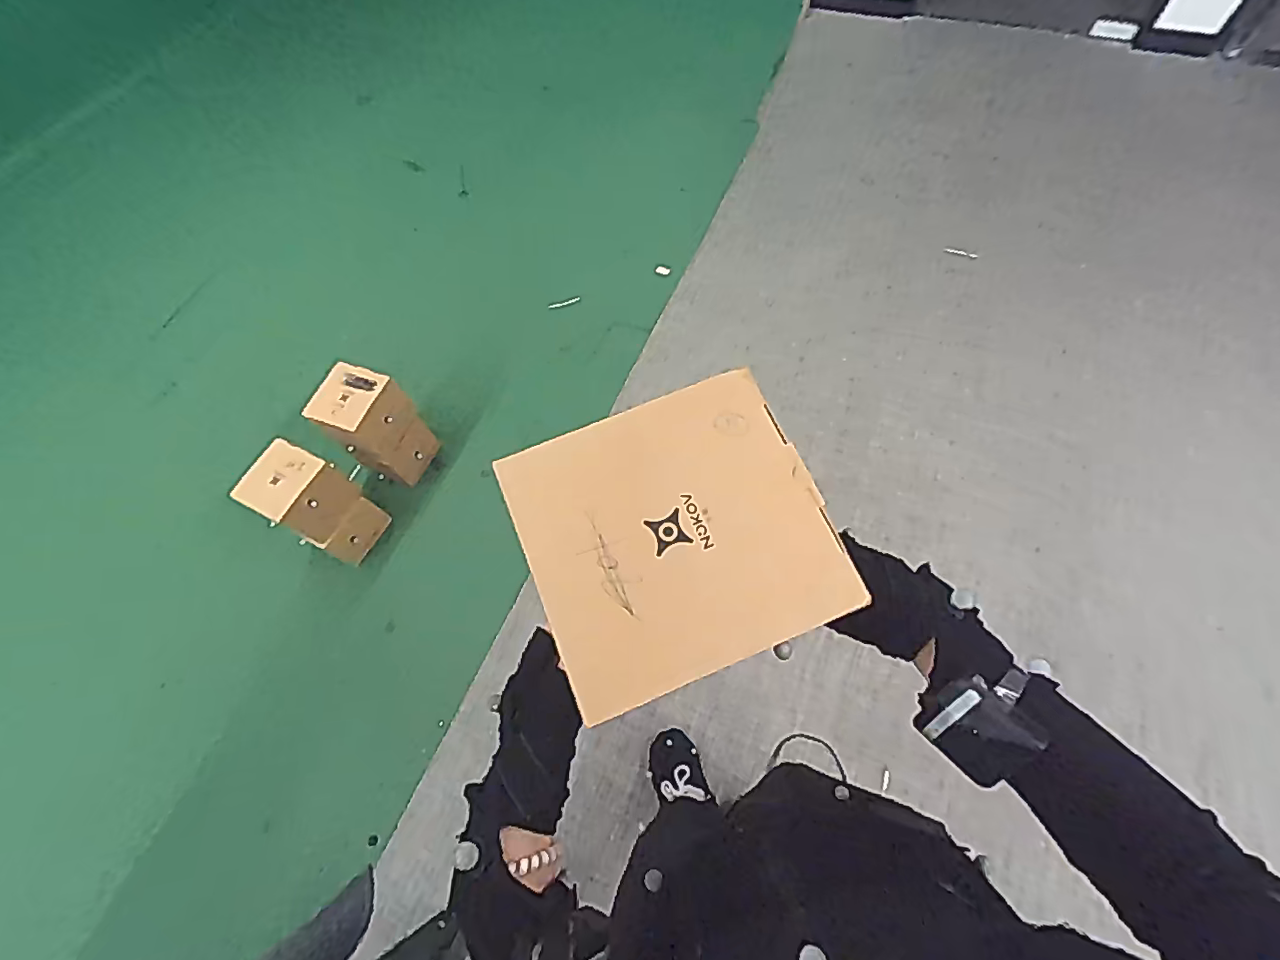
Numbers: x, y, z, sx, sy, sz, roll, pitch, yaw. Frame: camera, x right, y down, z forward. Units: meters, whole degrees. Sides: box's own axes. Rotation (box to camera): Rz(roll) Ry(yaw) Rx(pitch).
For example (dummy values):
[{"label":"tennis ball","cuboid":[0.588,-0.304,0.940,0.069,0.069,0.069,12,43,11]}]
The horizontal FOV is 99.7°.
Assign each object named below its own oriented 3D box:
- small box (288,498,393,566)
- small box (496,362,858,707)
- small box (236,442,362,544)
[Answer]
[{"label":"small box","cuboid":[-0.835,0.123,1.515,0.179,0.176,0.168,24,68,16]},{"label":"small box","cuboid":[0.019,0.047,0.398,0.179,0.176,0.168,-21,72,-5]},{"label":"small box","cuboid":[-0.852,0.040,1.373,0.168,0.176,0.179,24,68,15]}]
